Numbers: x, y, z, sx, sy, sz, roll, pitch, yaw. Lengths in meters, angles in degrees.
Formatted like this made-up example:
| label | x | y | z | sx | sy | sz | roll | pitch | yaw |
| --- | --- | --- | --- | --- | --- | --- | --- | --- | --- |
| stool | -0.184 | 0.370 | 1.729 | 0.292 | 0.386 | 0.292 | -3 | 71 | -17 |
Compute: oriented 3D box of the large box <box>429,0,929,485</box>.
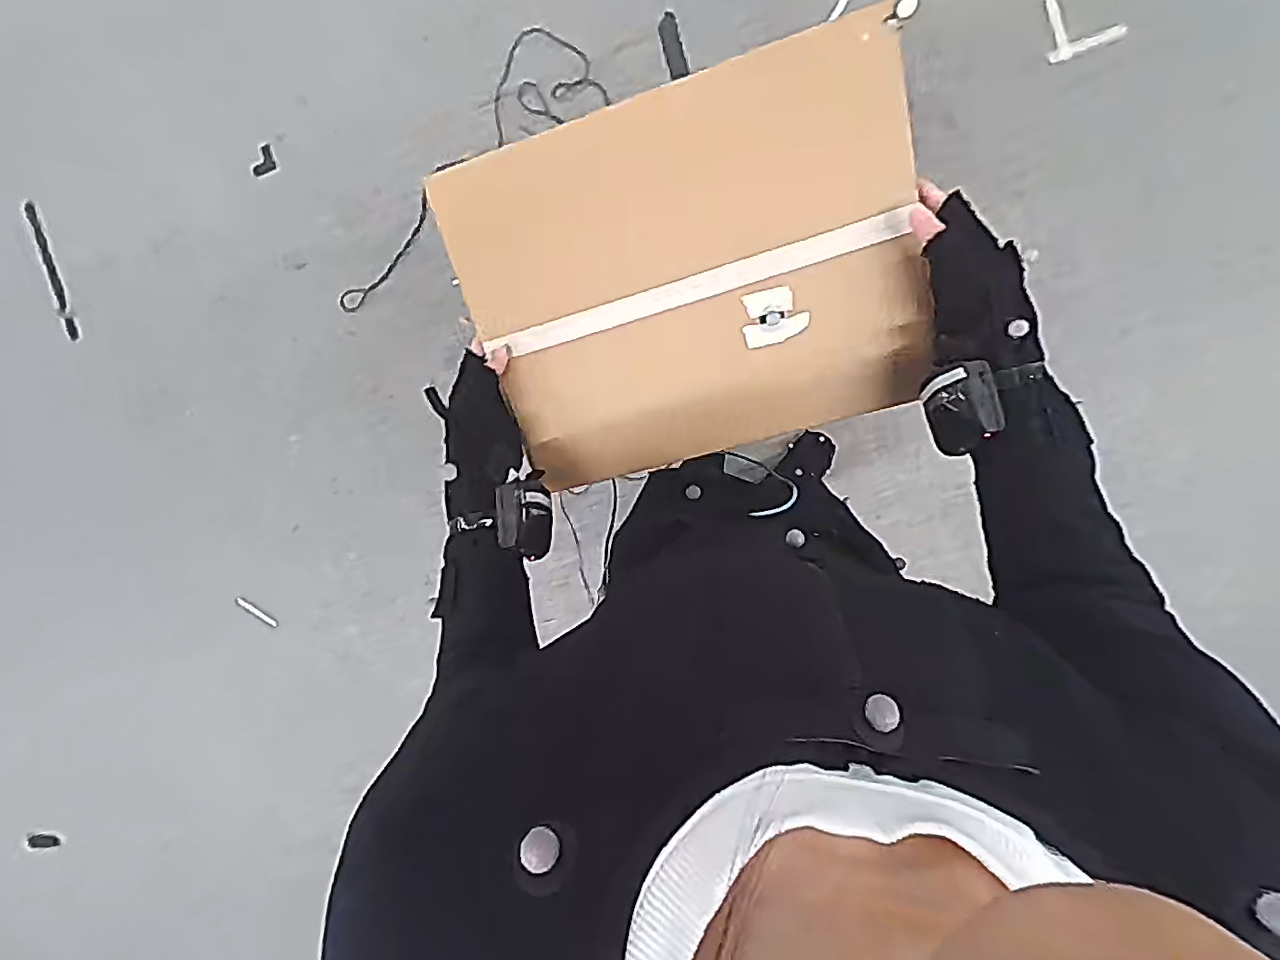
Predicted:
| label | x | y | z | sx | sy | sz | roll | pitch | yaw |
| --- | --- | --- | --- | --- | --- | --- | --- | --- | --- |
| large box | 0.049 | -0.232 | 0.640 | 0.408 | 0.320 | 0.320 | -16 | 108 | 9 |
